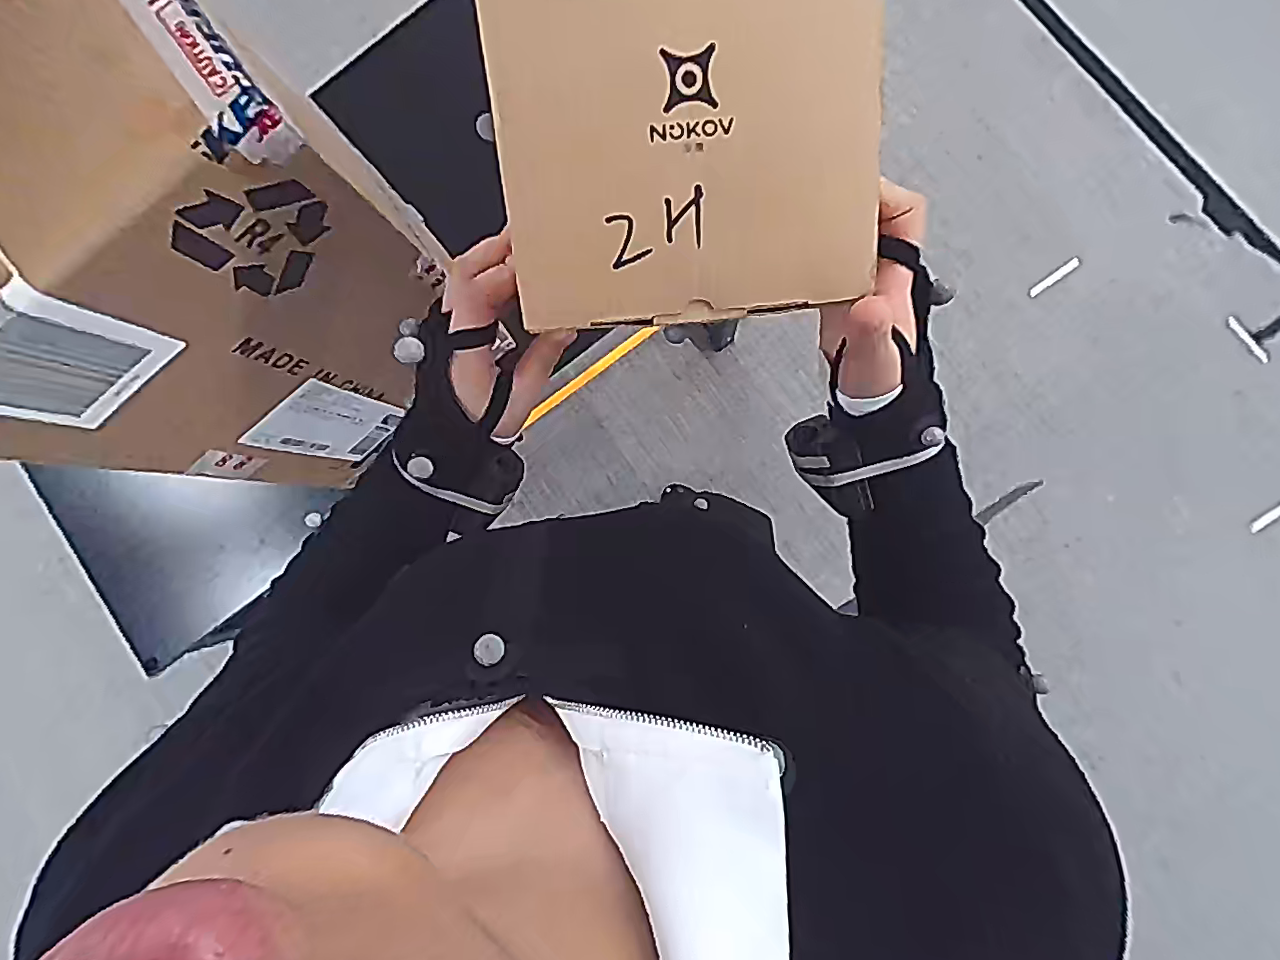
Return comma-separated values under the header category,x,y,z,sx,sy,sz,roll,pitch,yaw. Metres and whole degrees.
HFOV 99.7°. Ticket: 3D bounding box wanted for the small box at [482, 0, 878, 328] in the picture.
category,x,y,z,sx,sy,sz,roll,pitch,yaw
small box,0.017,-0.182,0.309,0.168,0.176,0.179,-4,107,0
